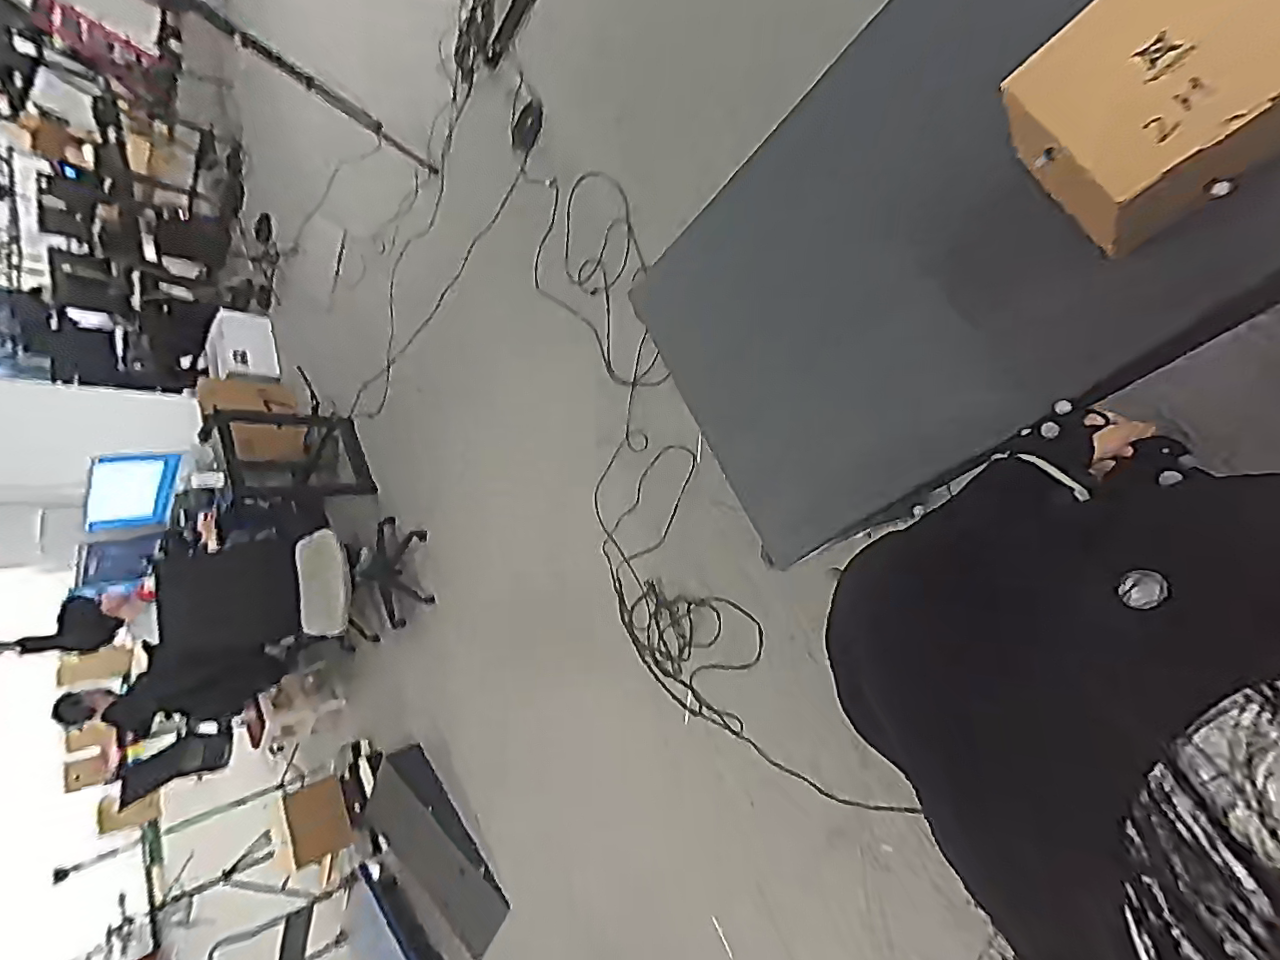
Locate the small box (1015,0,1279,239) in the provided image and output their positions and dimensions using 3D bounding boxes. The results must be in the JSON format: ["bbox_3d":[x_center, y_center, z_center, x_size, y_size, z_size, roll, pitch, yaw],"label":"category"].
[{"bbox_3d":[0.500,-0.368,0.515,0.168,0.176,0.179,-39,67,35],"label":"small box"}]
